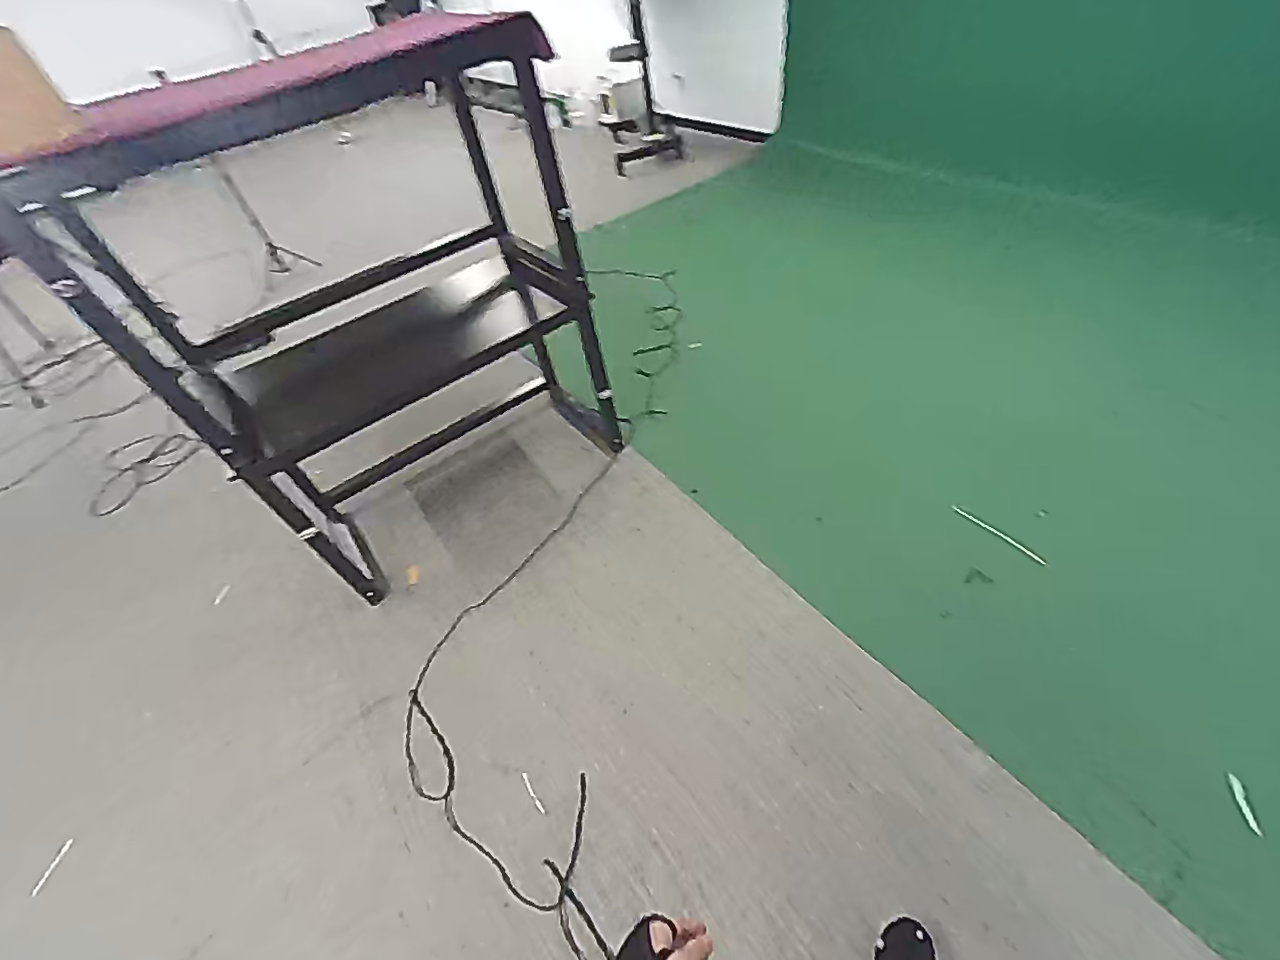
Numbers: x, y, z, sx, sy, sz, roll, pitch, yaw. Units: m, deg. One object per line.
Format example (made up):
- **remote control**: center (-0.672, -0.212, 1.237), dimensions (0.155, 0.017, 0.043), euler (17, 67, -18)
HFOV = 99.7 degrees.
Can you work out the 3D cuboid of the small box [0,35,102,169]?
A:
- **small box**: center (-1.169, -0.700, 1.004), dimensions (0.179, 0.176, 0.168), euler (-33, 49, -20)
